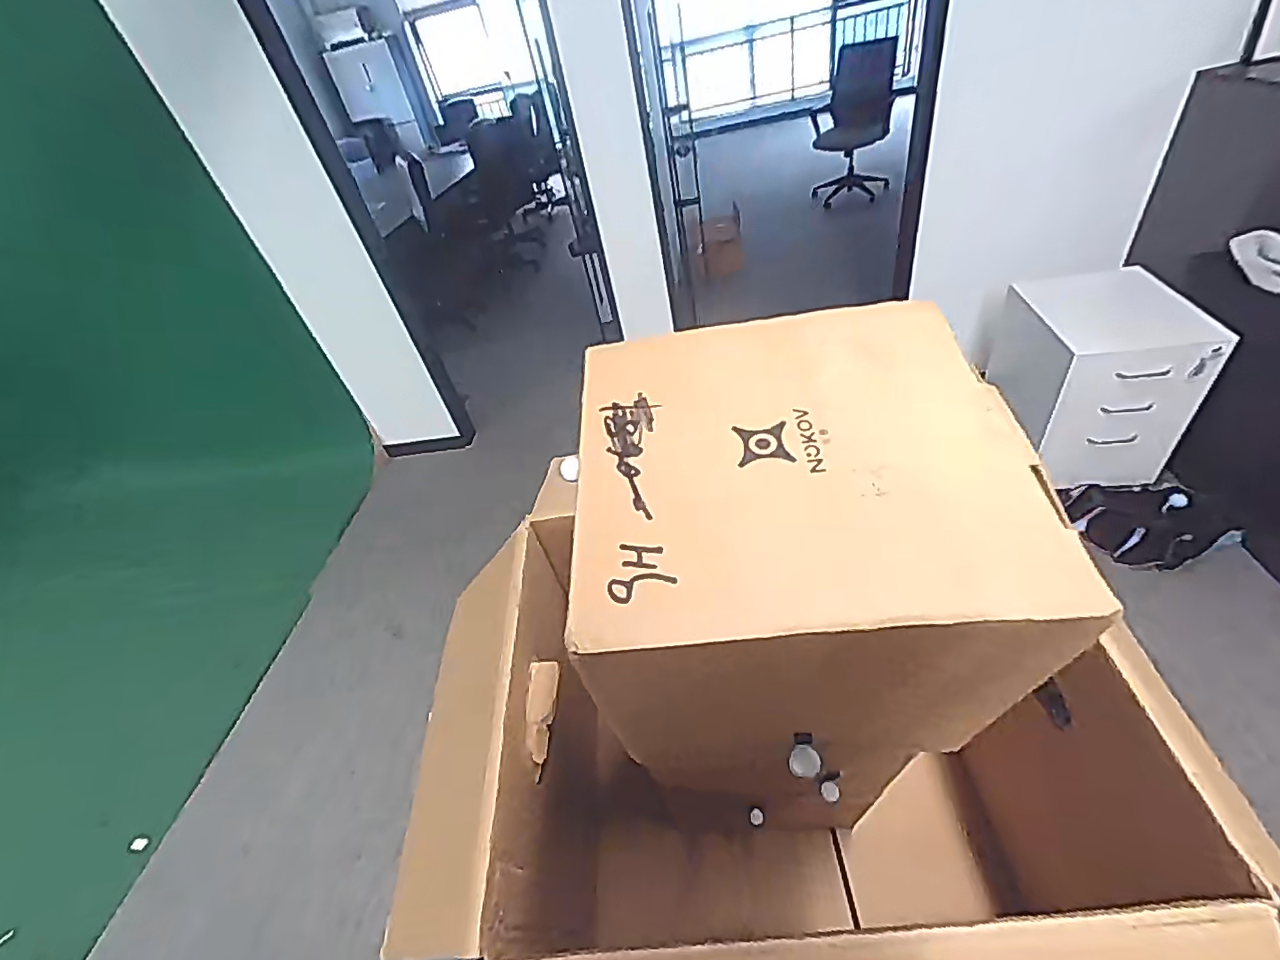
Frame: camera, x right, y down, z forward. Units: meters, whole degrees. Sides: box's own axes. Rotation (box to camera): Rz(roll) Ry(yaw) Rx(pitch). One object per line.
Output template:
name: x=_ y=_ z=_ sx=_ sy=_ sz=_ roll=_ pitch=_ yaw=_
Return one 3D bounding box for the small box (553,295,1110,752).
small box: x=0.066 y=0.031 z=0.280 sx=0.179 sy=0.176 sz=0.168 roll=-5 pitch=50 yaw=5

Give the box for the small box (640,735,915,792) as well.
small box: x=0.086 y=0.125 z=0.412 sx=0.168 sy=0.176 sz=0.179 roll=-3 pitch=50 yaw=8
